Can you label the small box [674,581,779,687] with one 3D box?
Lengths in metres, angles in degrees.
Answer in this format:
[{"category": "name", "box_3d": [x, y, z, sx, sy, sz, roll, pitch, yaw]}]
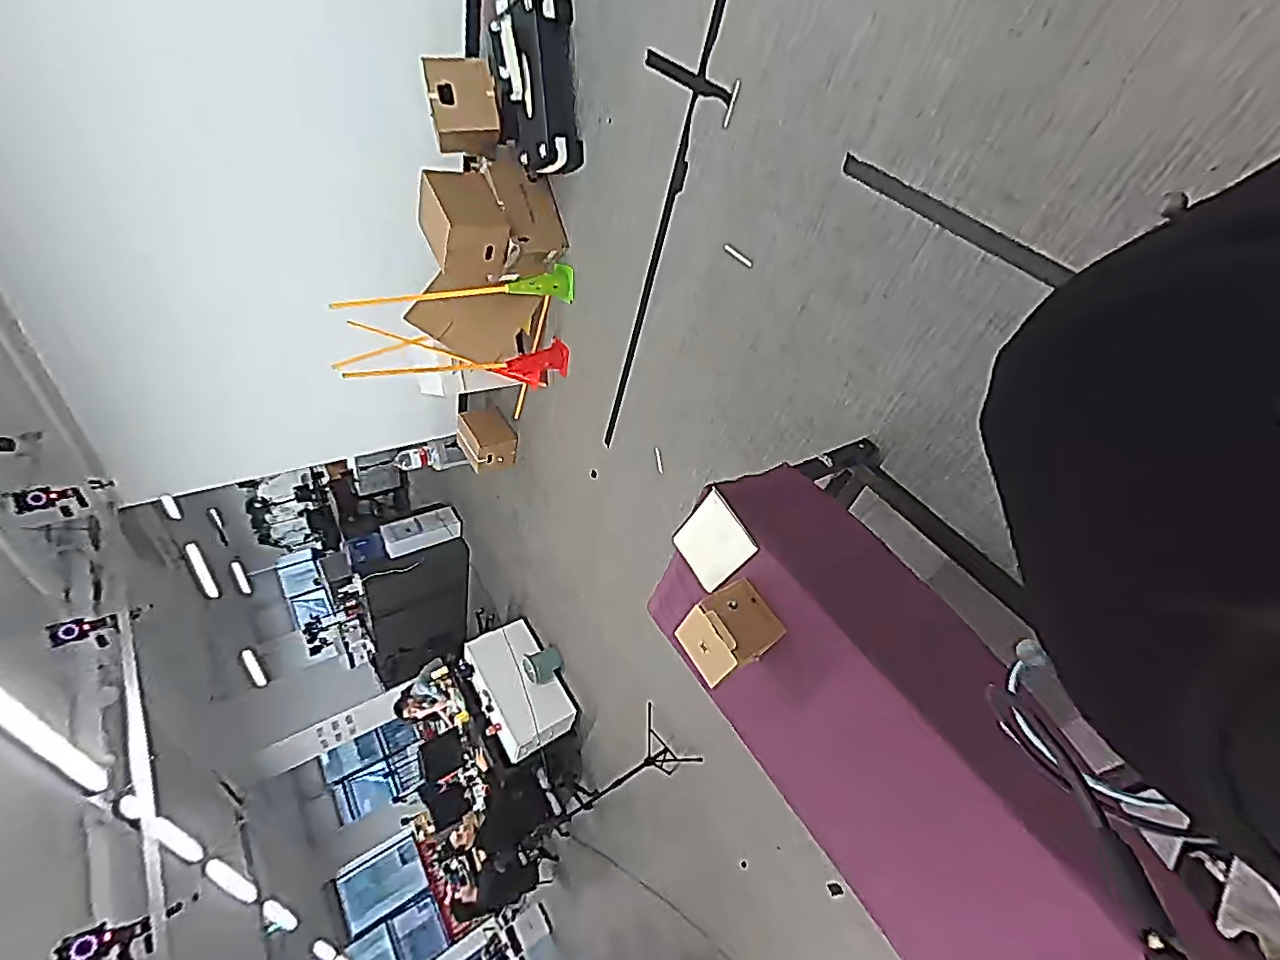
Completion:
[{"category": "small box", "box_3d": [0.218, 0.380, 1.350, 0.168, 0.176, 0.179, 54, 143, 25]}]
